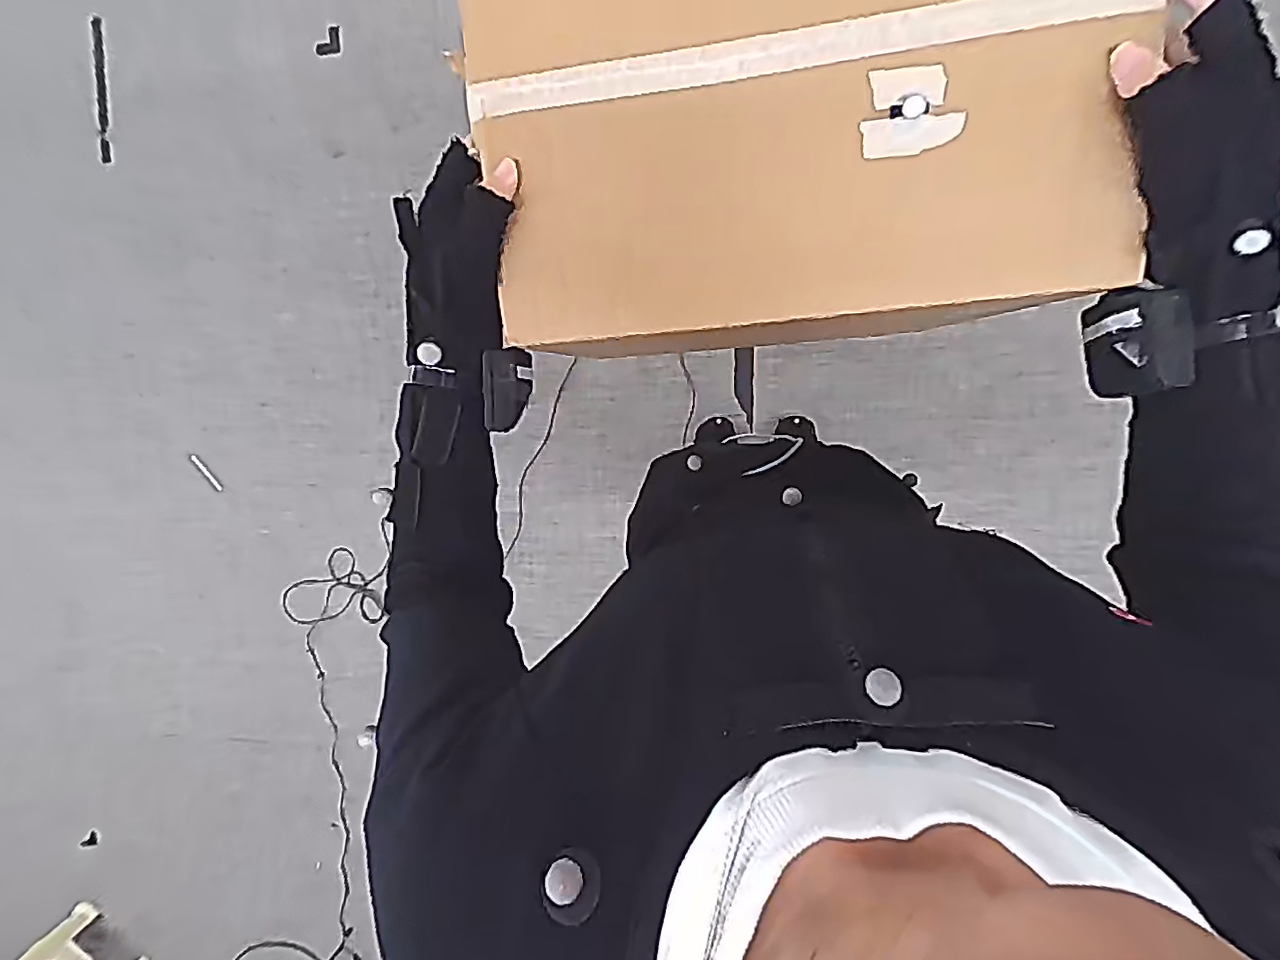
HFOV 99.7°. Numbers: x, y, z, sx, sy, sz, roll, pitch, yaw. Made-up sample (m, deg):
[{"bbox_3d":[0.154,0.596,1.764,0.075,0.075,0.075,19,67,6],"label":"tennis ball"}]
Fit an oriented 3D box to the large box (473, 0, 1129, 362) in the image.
[{"bbox_3d":[0.107,-0.290,0.490,0.408,0.320,0.320,-4,100,7],"label":"large box"}]
